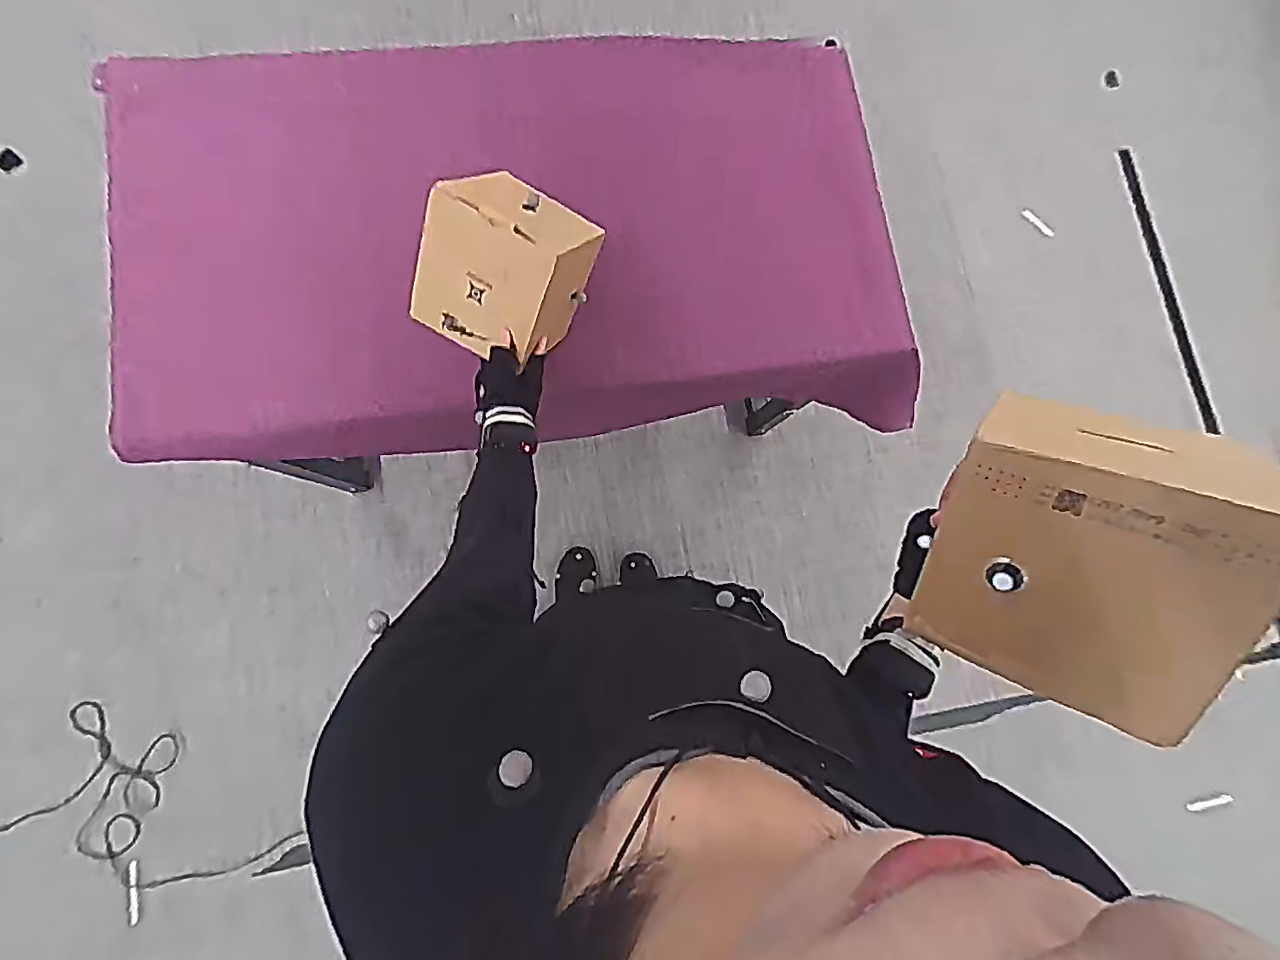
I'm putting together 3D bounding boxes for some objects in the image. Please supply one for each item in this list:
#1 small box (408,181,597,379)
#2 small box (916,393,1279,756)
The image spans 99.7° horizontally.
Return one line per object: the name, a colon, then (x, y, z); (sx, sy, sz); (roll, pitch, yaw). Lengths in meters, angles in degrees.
small box: (-0.174, -0.272, 0.719); (0.168, 0.179, 0.176); (30, 36, -1)
small box: (0.326, 0.044, 0.393); (0.168, 0.179, 0.176); (22, 121, 31)
